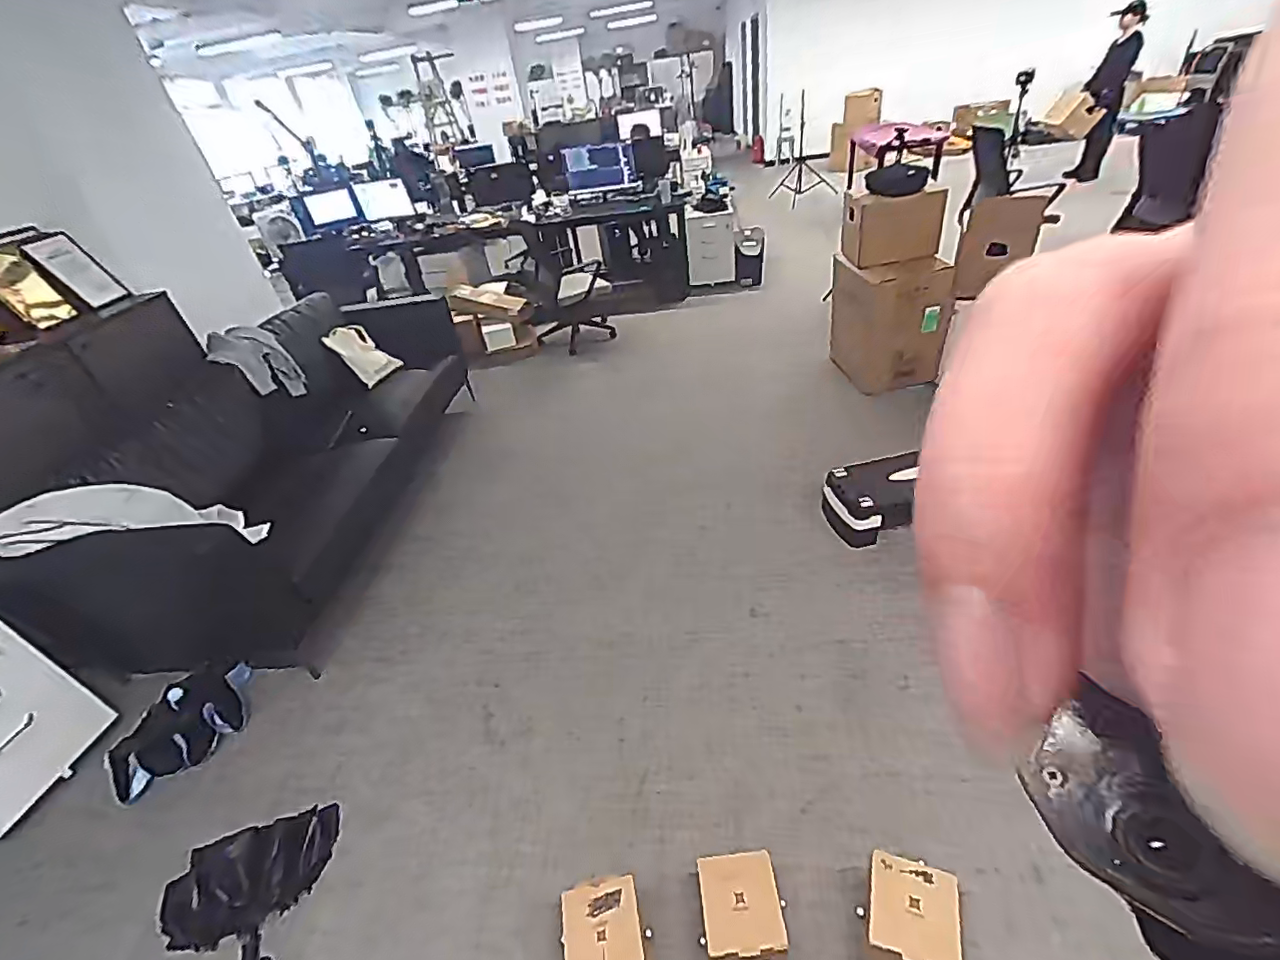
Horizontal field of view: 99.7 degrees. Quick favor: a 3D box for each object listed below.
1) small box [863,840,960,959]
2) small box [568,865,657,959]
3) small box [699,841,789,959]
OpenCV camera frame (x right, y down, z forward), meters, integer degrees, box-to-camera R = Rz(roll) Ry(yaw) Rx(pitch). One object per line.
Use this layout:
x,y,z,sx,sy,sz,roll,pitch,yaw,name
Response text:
0.576,0.923,1.157,0.168,0.176,0.179,6,41,22,small box
-0.061,1.005,1.206,0.168,0.176,0.179,-13,37,-3,small box
0.231,0.949,1.213,0.168,0.176,0.179,-8,36,1,small box
